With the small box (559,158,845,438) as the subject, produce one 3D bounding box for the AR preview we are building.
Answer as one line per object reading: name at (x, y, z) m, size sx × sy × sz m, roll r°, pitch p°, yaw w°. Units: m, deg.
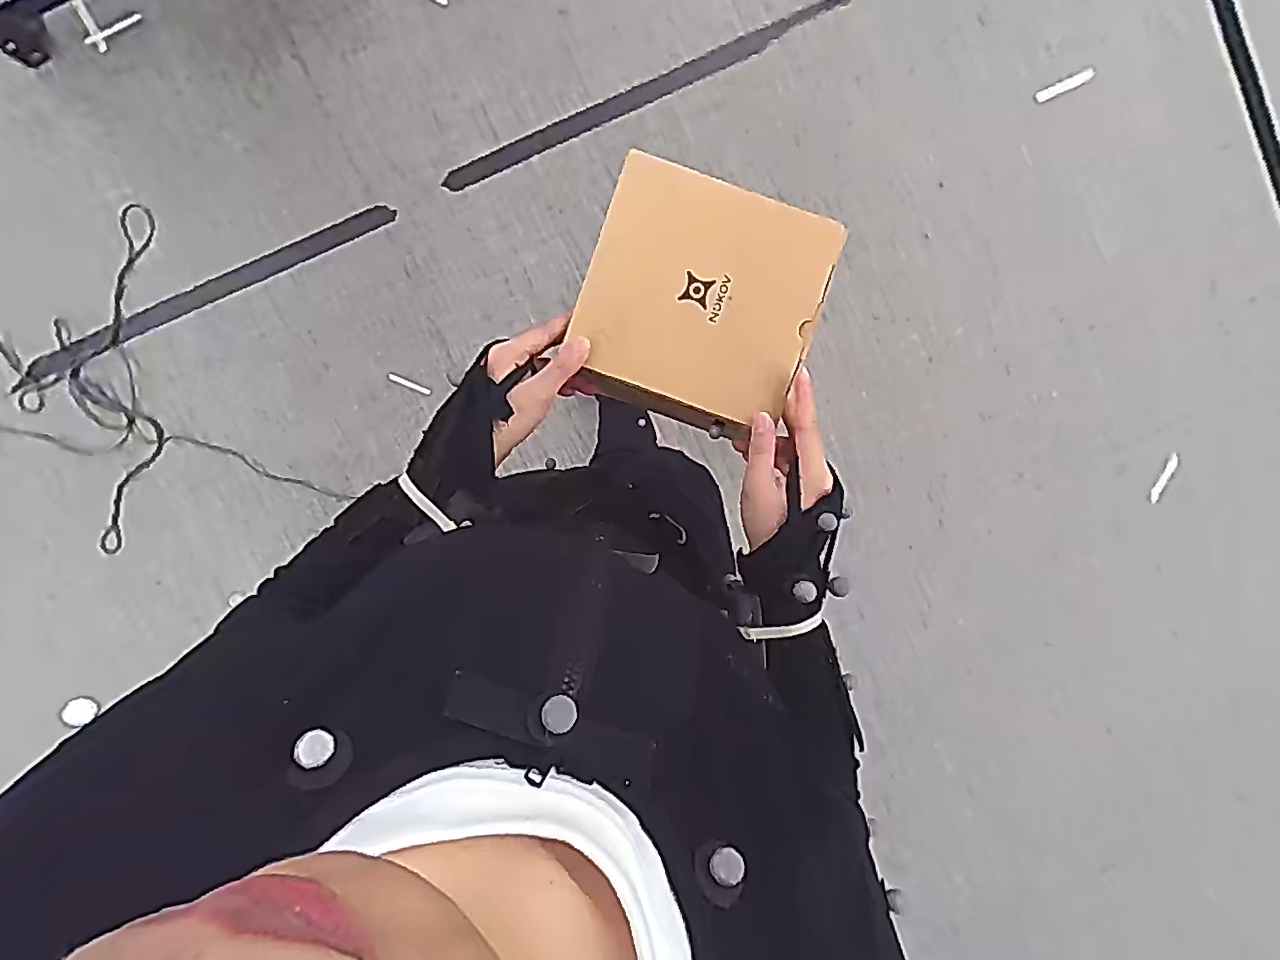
small box at (0.047, -0.140, 0.486) m, size 0.179 × 0.176 × 0.168 m, roll 20°, pitch 92°, yaw 0°
